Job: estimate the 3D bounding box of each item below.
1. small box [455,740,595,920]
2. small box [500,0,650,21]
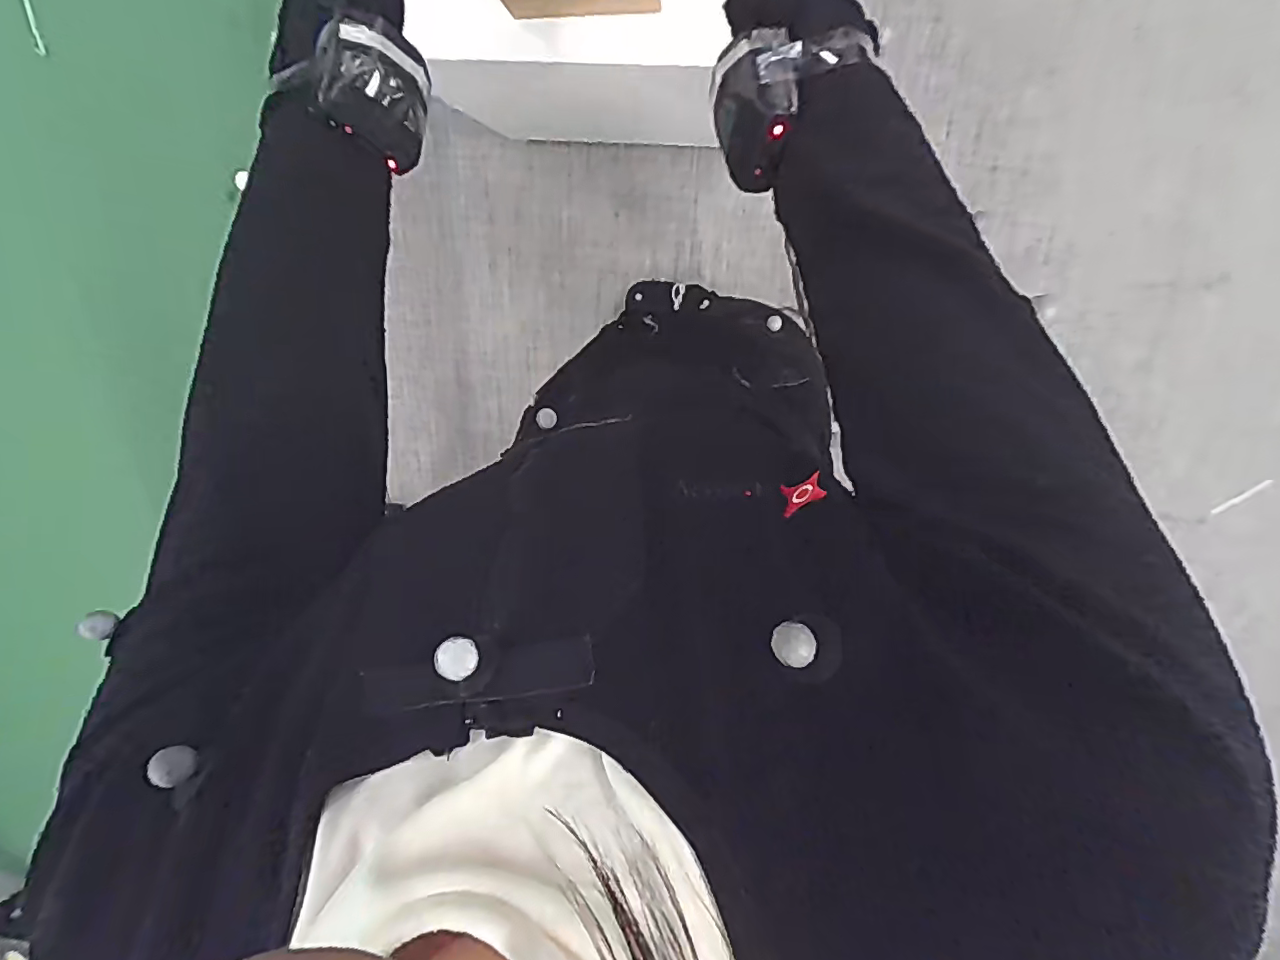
[{"bbox_3d":[-0.170,0.540,0.849,0.179,0.176,0.168,7,114,4],"label":"small box"},{"bbox_3d":[-0.070,-0.570,0.511,0.179,0.176,0.168,2,112,7],"label":"small box"}]
